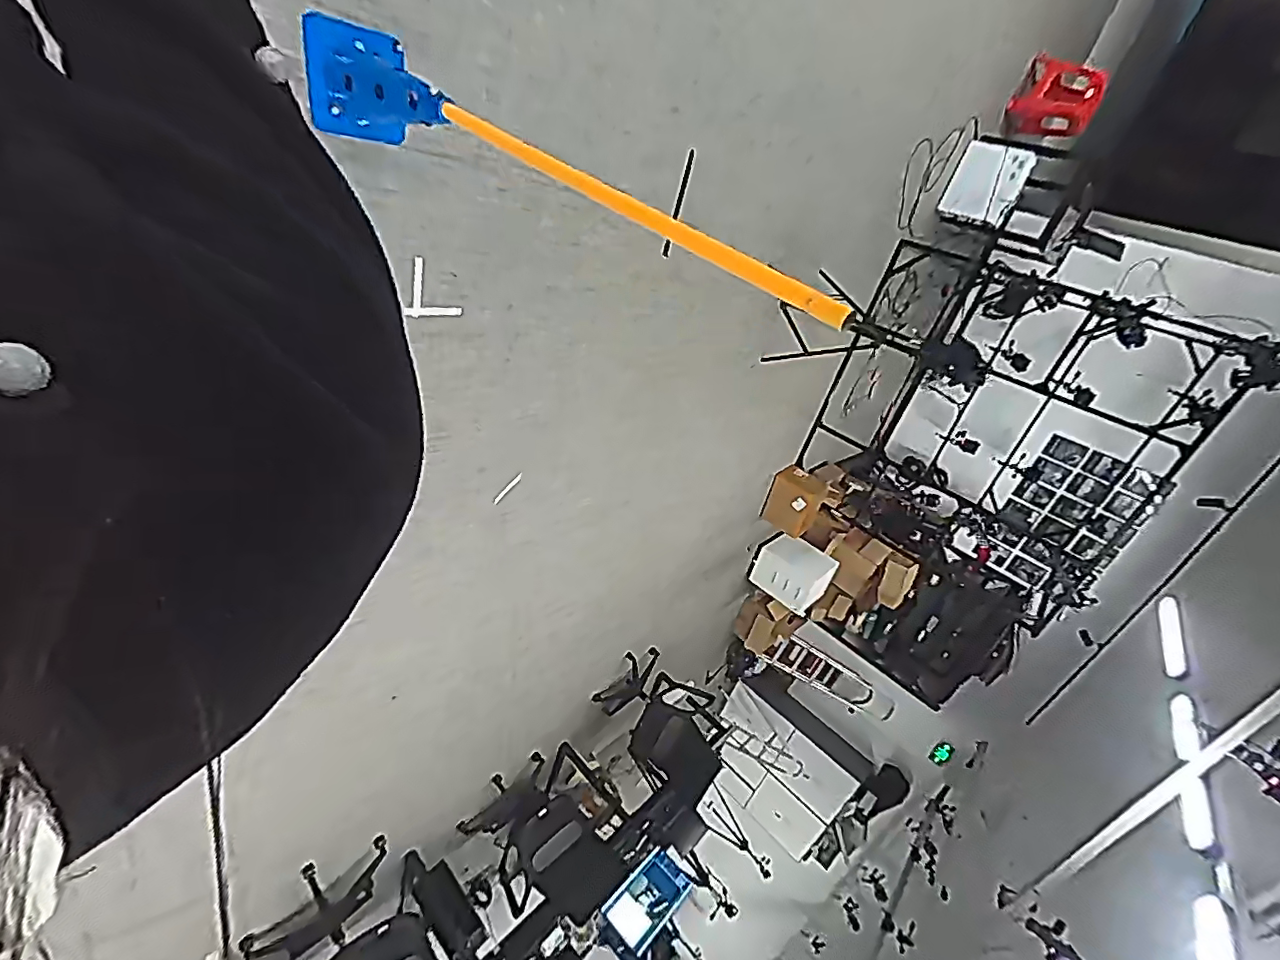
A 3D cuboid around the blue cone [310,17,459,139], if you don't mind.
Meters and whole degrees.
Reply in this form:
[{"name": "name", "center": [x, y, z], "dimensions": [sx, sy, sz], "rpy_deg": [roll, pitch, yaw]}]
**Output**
[{"name": "blue cone", "center": [-0.472, -0.761, 1.063], "dimensions": [0.193, 0.380, 0.192], "rpy_deg": [-20, 135, -45]}]
